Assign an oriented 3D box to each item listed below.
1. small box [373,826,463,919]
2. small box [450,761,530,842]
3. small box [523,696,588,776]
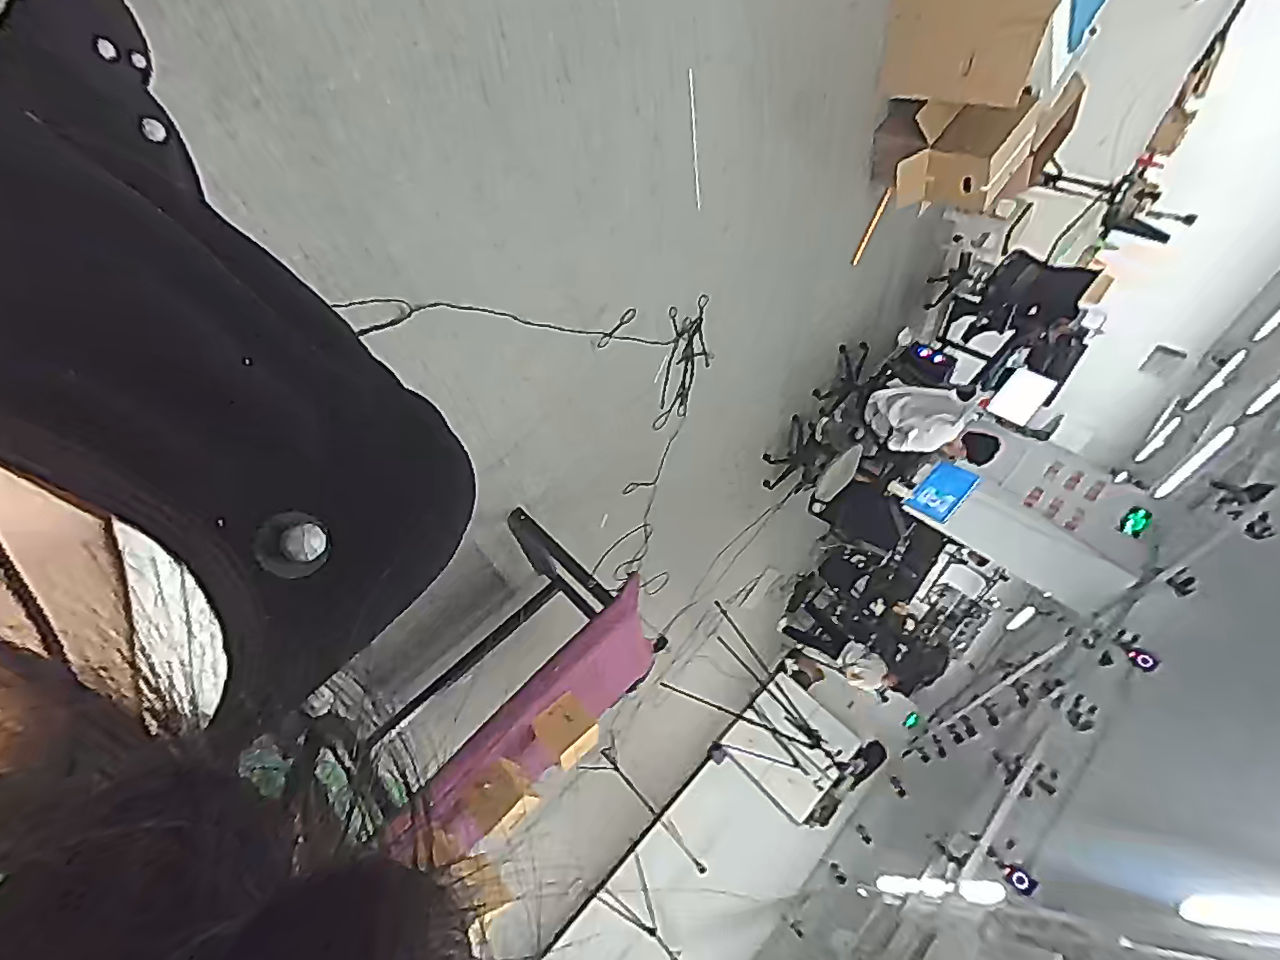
[{"bbox_3d":[-0.700,1.235,1.709,0.179,0.176,0.168,-40,149,-23],"label":"small box"},{"bbox_3d":[-0.506,1.085,1.827,0.168,0.176,0.179,-43,149,-18],"label":"small box"},{"bbox_3d":[-0.302,0.905,1.929,0.168,0.176,0.179,-33,146,-33],"label":"small box"}]
